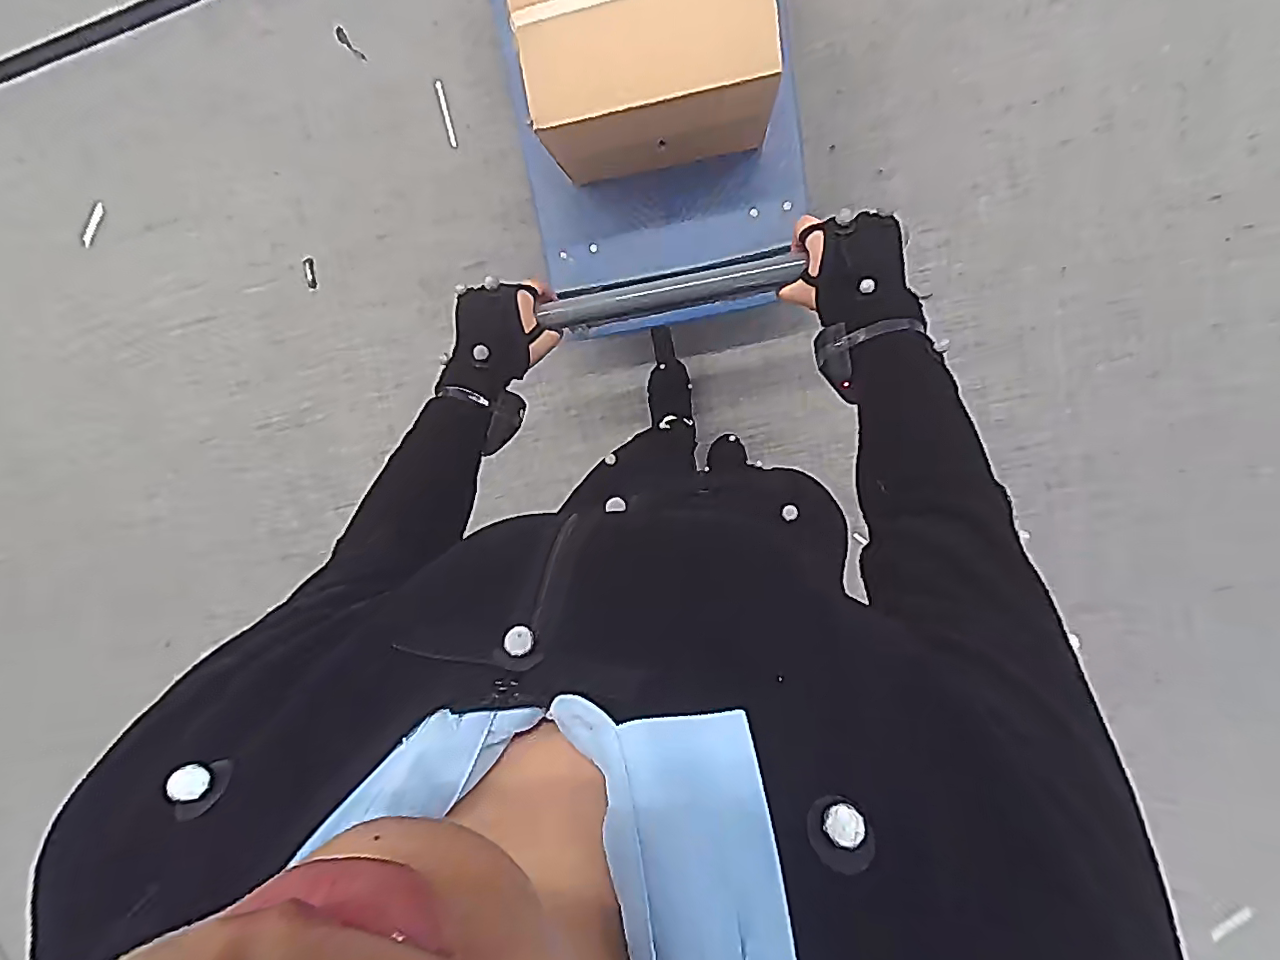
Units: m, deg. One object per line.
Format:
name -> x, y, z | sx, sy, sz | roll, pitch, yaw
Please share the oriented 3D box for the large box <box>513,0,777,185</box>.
large box -> 0.017, -0.786, 0.990 | 0.408, 0.320, 0.320 | -8, 101, 9
